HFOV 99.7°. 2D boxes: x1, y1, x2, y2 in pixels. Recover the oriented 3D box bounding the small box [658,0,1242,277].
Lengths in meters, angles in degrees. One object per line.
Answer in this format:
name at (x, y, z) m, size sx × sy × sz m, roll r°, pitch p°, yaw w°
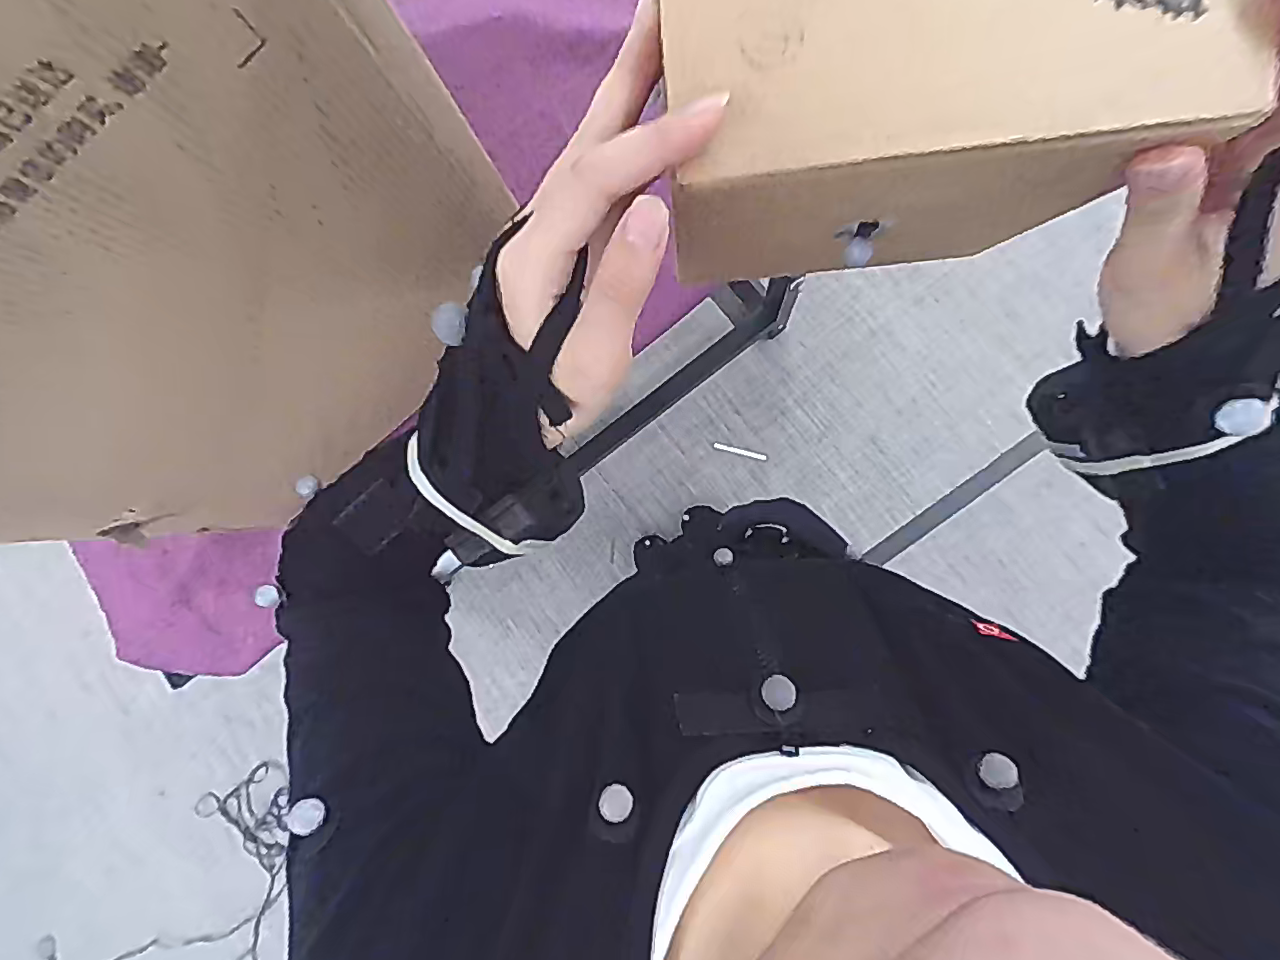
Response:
small box at (0.098, -0.198, 0.240) m, size 0.179 × 0.176 × 0.168 m, roll -4°, pitch 99°, yaw 6°
